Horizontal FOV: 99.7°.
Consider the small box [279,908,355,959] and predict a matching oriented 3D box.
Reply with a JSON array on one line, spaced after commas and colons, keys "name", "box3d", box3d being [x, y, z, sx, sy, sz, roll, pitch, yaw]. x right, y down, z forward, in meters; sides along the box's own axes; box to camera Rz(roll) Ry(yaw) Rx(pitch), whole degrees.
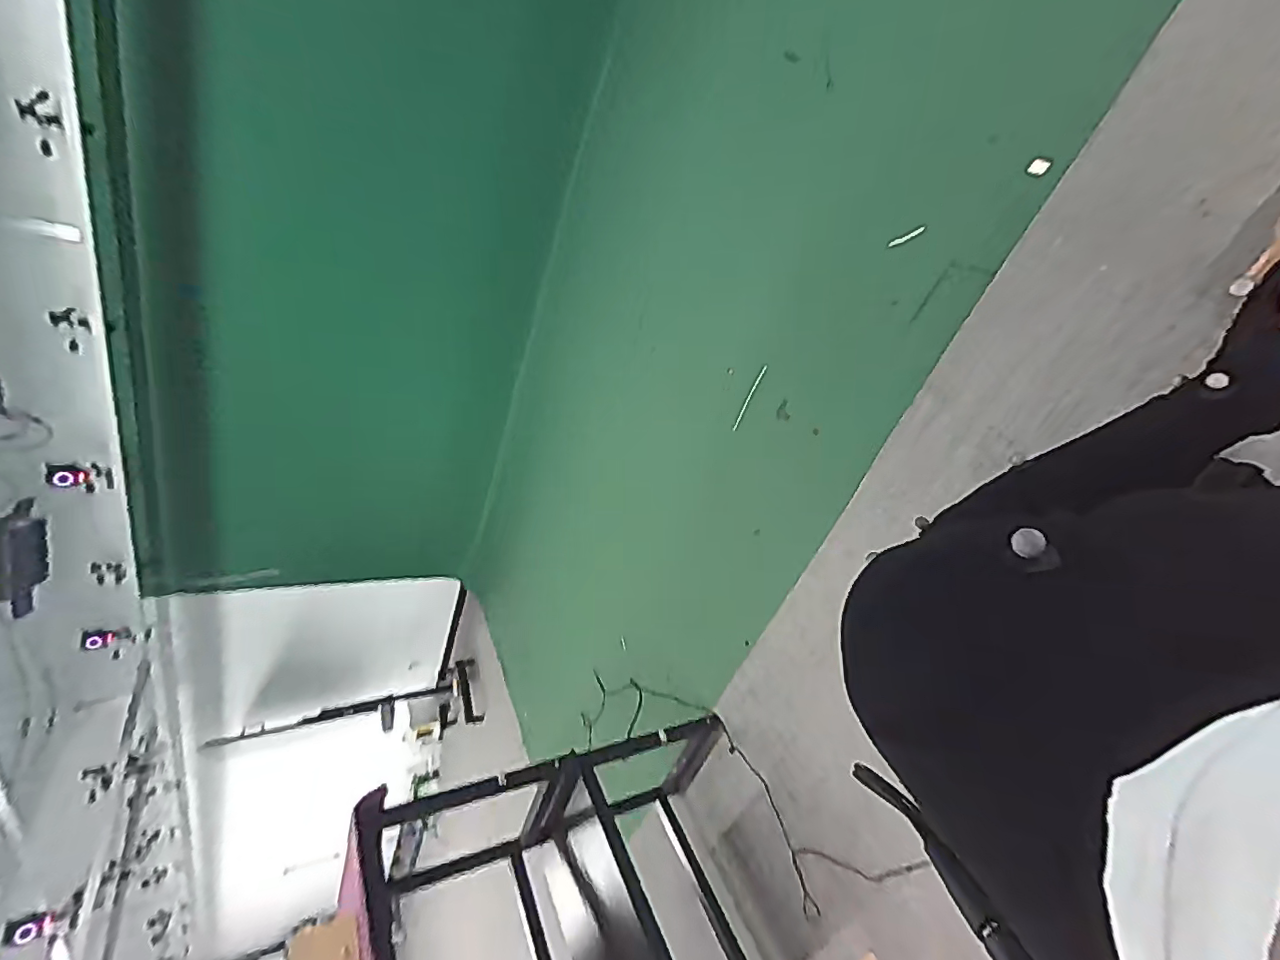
[{"name": "small box", "box3d": [-0.871, 1.296, 1.452, 0.179, 0.176, 0.168, 53, 131, 44]}]
